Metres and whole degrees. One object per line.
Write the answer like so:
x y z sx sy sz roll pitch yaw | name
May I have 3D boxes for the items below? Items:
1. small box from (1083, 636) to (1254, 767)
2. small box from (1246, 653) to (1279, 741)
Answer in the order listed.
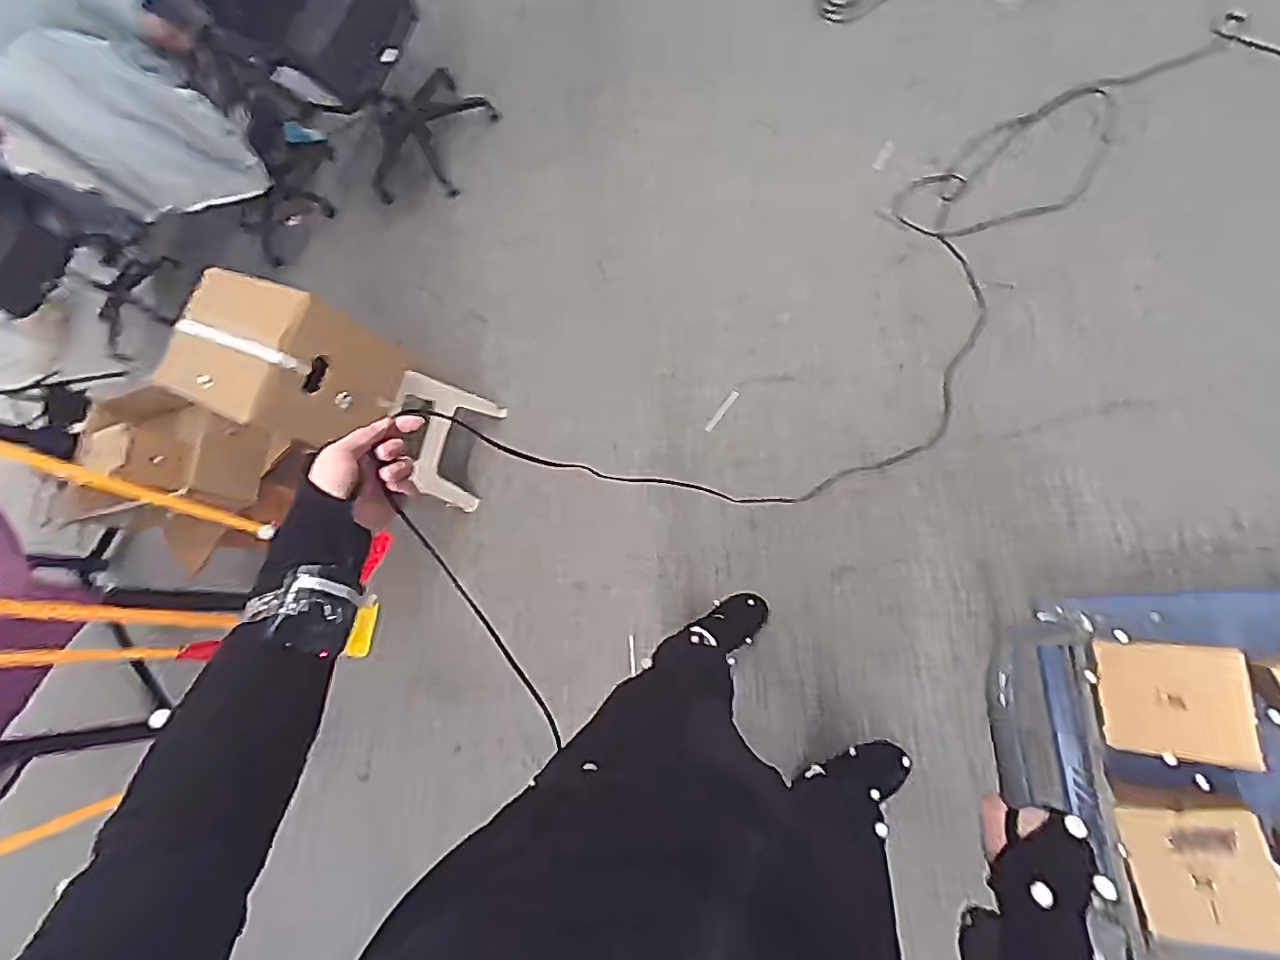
0.868 0.357 0.908 0.179 0.176 0.168 -6 76 37 | small box
1.040 0.335 0.780 0.179 0.176 0.168 -24 66 31 | small box
